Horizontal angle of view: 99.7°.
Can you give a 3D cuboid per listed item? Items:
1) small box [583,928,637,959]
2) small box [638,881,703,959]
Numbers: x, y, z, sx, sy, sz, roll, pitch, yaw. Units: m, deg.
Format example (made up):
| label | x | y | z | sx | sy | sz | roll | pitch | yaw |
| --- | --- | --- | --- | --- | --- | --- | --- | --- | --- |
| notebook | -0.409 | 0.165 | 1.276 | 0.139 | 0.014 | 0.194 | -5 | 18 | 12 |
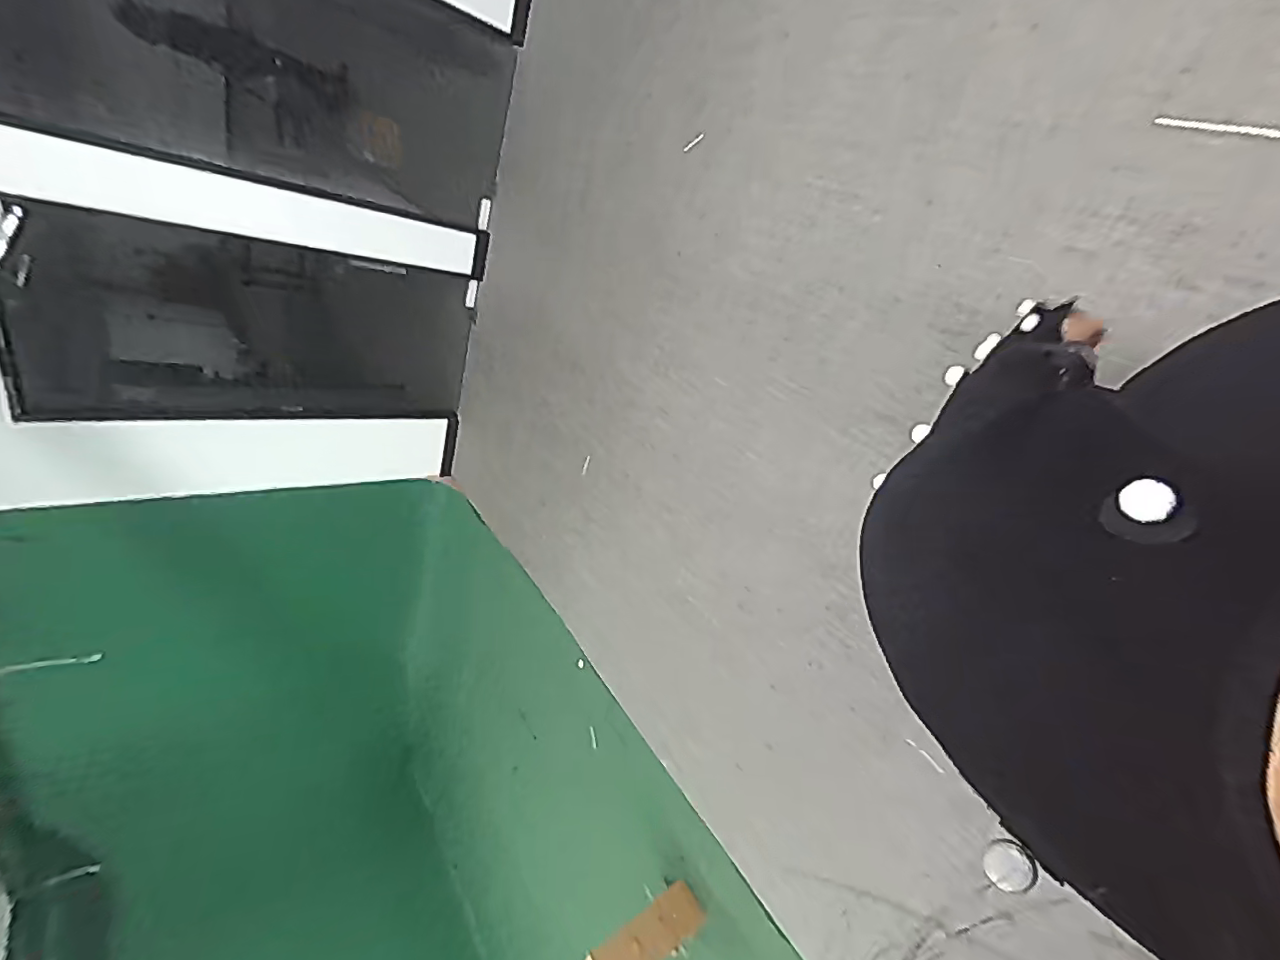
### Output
| label | x | y | z | sx | sy | sz | roll | pitch | yaw |
| --- | --- | --- | --- | --- | --- | --- | --- | --- | --- |
| small box | -0.111 | 1.854 | 2.032 | 0.179 | 0.176 | 0.168 | 45 | 126 | 35 |
| small box | 0.129 | 1.823 | 2.254 | 0.179 | 0.176 | 0.168 | 46 | 126 | 35 |
